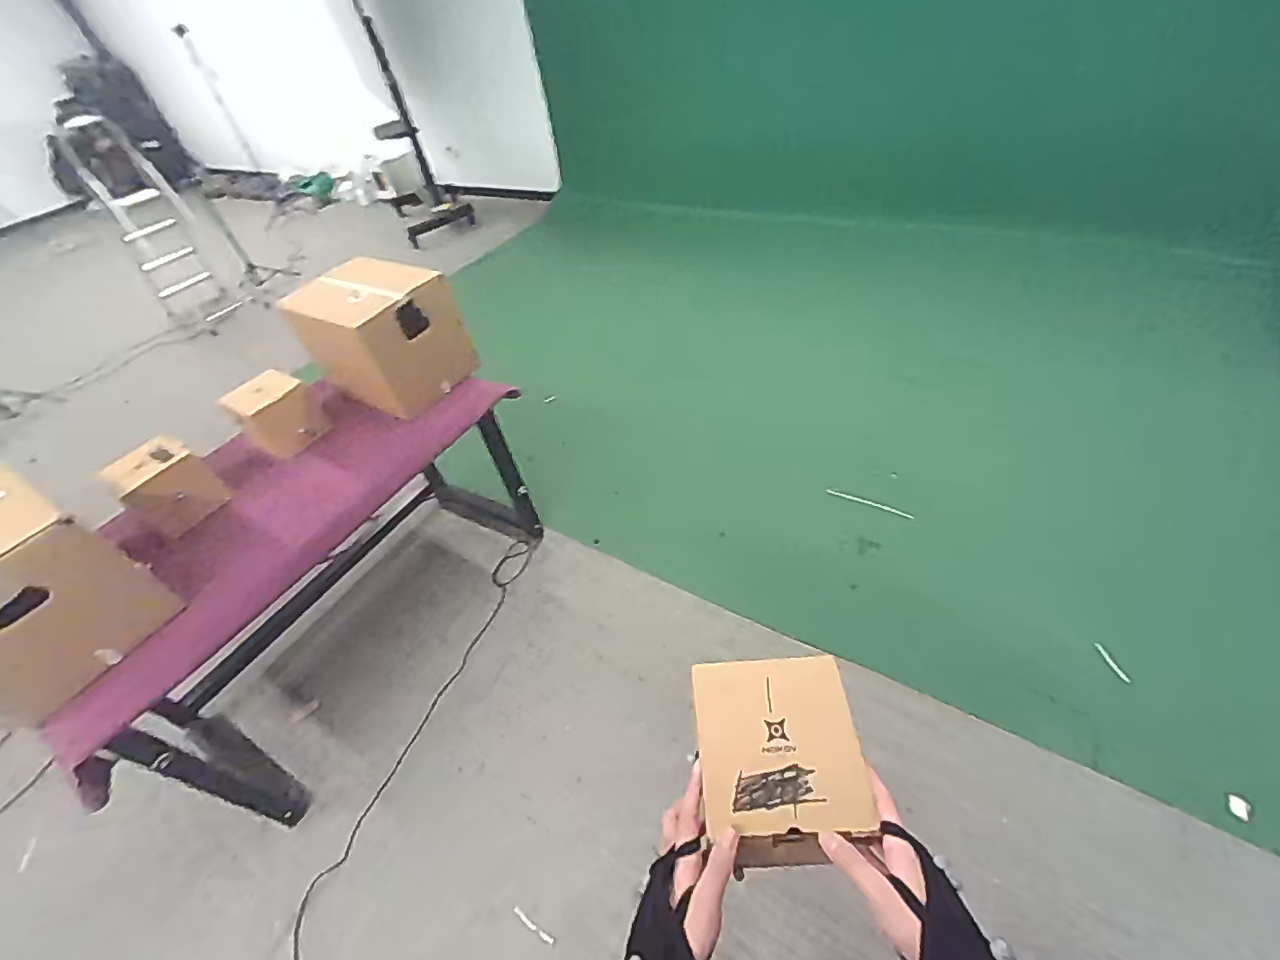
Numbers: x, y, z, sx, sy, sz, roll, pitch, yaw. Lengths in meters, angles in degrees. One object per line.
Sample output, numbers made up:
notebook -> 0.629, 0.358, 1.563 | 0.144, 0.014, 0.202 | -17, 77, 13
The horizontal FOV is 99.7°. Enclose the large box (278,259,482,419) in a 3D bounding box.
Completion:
large box -> -0.764, -0.432, 1.629 | 0.408, 0.320, 0.320 | 21, 55, 27

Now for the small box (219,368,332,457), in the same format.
small box -> -1.032, -0.191, 1.541 | 0.179, 0.176, 0.168 | 20, 53, 27

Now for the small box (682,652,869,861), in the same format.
small box -> 0.139, 0.320, 0.618 | 0.168, 0.176, 0.179 | -5, 46, 2
